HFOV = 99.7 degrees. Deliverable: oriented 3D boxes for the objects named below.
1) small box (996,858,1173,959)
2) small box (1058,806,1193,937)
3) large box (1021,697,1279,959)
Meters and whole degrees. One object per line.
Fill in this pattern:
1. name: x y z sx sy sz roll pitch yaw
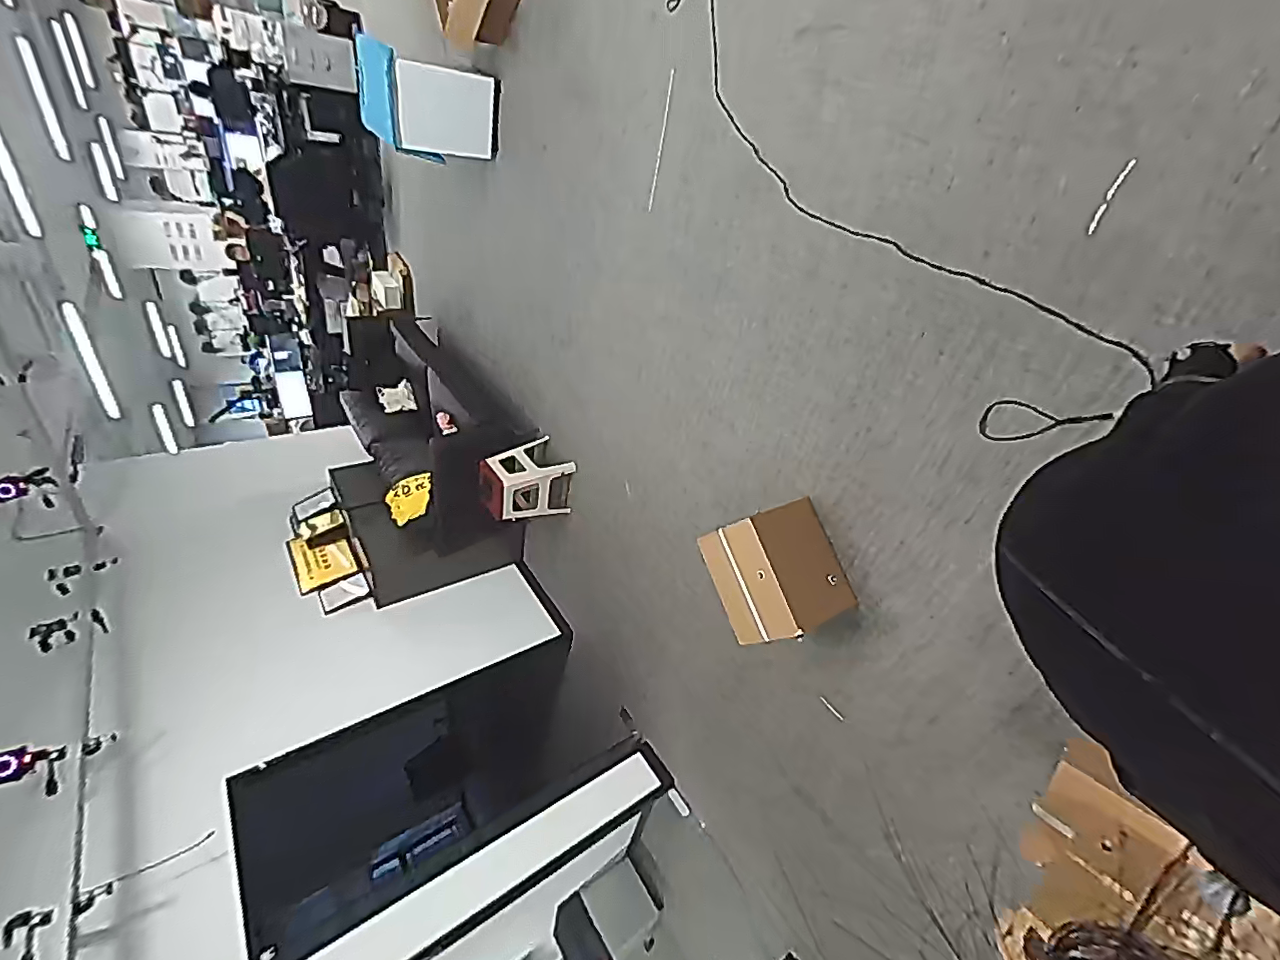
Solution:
1. small box: 0.780 0.818 0.955 0.179 0.176 0.168 30 126 47
2. small box: 0.914 0.782 1.043 0.168 0.176 0.179 32 127 46
3. large box: 1.135 0.757 1.154 0.408 0.320 0.320 30 127 45
